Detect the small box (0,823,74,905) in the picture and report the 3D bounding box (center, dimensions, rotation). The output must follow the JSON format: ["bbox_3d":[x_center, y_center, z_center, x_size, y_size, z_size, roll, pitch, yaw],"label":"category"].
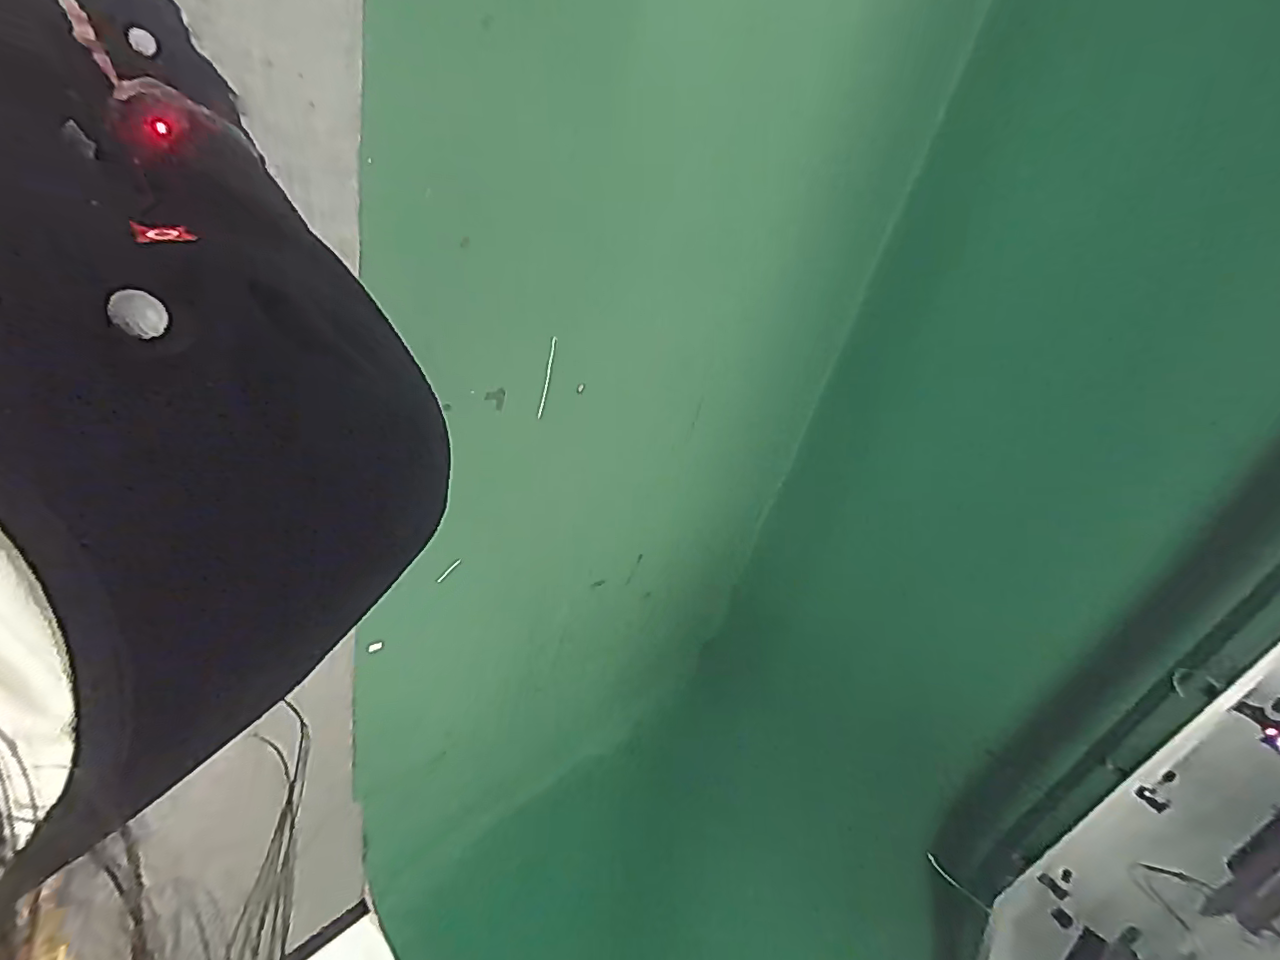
[{"bbox_3d":[-1.628,1.062,1.421,0.179,0.176,0.168,-13,129,-47],"label":"small box"}]

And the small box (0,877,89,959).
[{"bbox_3d":[-1.513,1.150,1.346,0.168,0.176,0.179,-16,130,-48],"label":"small box"}]
